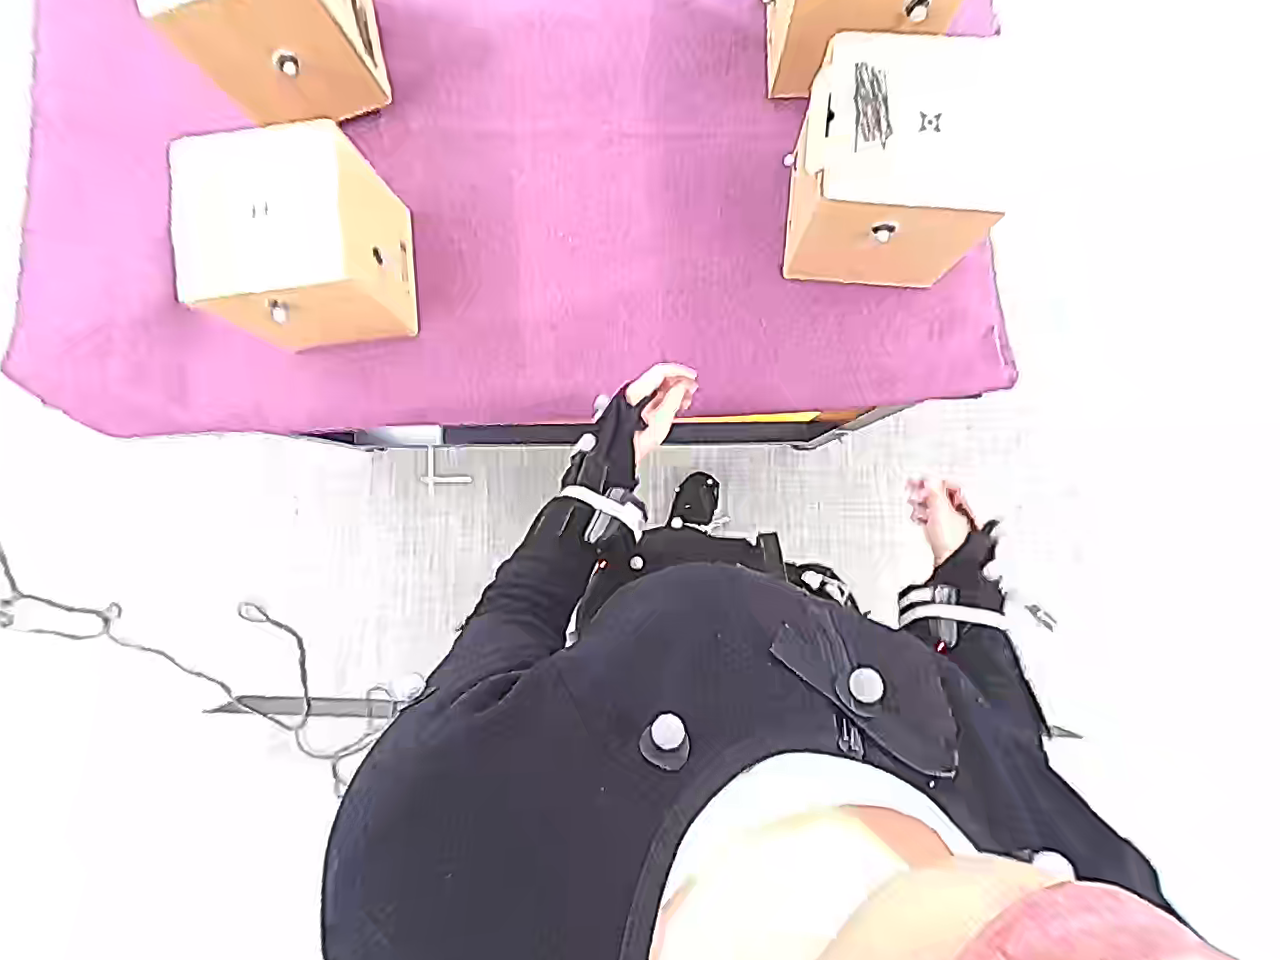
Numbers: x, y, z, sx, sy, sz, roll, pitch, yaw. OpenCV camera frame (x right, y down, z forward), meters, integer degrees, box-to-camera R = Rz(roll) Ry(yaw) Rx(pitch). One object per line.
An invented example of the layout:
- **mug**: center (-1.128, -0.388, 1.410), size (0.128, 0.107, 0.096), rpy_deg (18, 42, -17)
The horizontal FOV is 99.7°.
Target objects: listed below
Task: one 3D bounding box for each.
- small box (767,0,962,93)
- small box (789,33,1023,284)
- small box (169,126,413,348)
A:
- **small box**: center (0.243, -0.561, 0.589), size (0.179, 0.176, 0.168), rpy_deg (-1, 88, 3)
- **small box**: center (0.265, -0.326, 0.578), size (0.179, 0.176, 0.168), rpy_deg (5, 87, 3)
- **small box**: center (-0.377, -0.260, 0.617), size (0.179, 0.176, 0.168), rpy_deg (-6, 87, 3)
